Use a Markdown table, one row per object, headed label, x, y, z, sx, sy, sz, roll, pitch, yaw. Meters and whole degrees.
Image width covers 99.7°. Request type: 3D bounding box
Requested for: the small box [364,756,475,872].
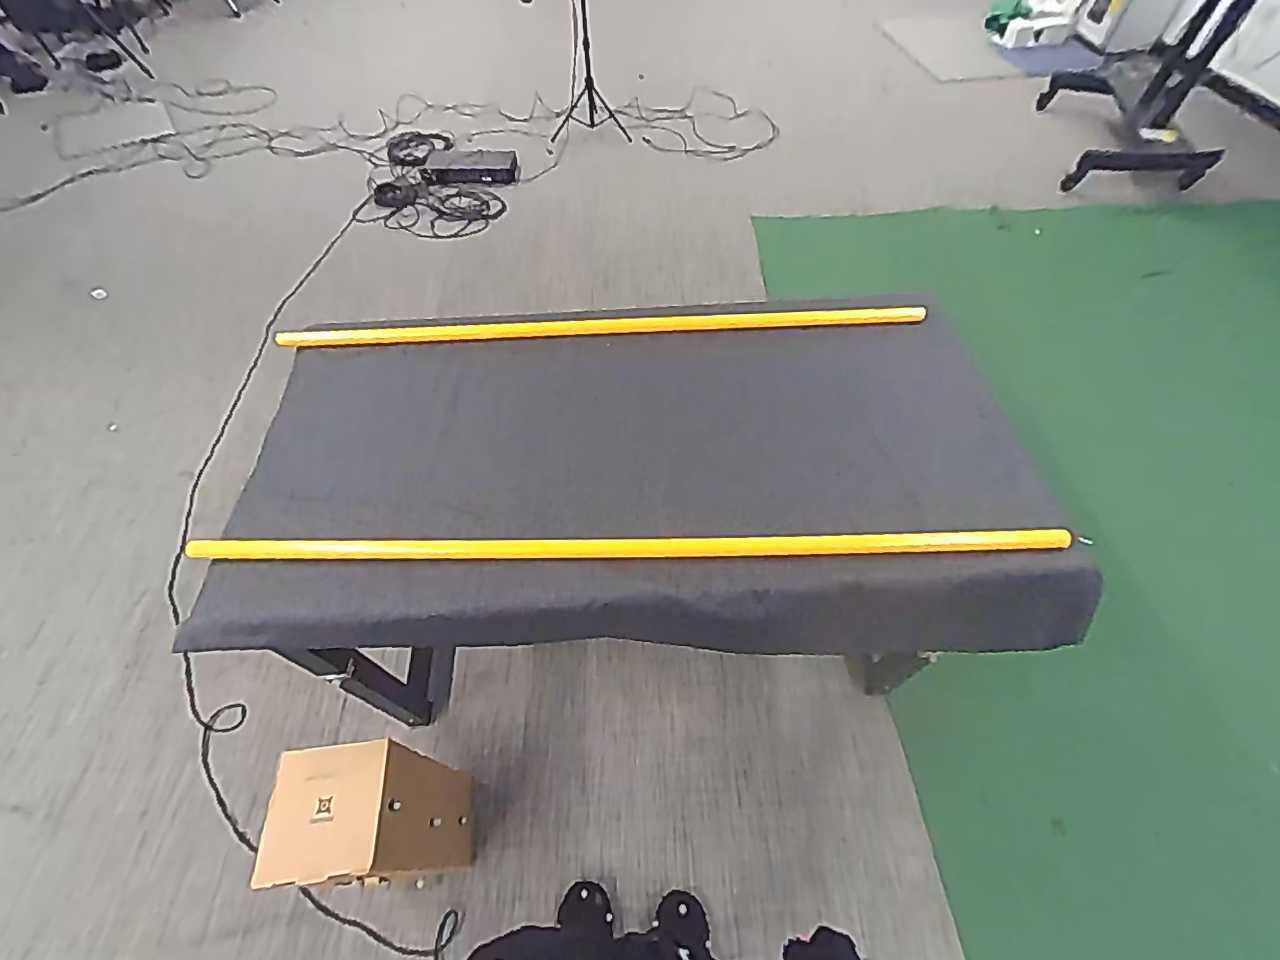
| label | x | y | z | sx | sy | sz | roll | pitch | yaw |
| --- | --- | --- | --- | --- | --- | --- | --- | --- | --- |
| small box | -0.452 | 0.702 | 1.136 | 0.168 | 0.176 | 0.179 | -9 | 56 | -5 |
